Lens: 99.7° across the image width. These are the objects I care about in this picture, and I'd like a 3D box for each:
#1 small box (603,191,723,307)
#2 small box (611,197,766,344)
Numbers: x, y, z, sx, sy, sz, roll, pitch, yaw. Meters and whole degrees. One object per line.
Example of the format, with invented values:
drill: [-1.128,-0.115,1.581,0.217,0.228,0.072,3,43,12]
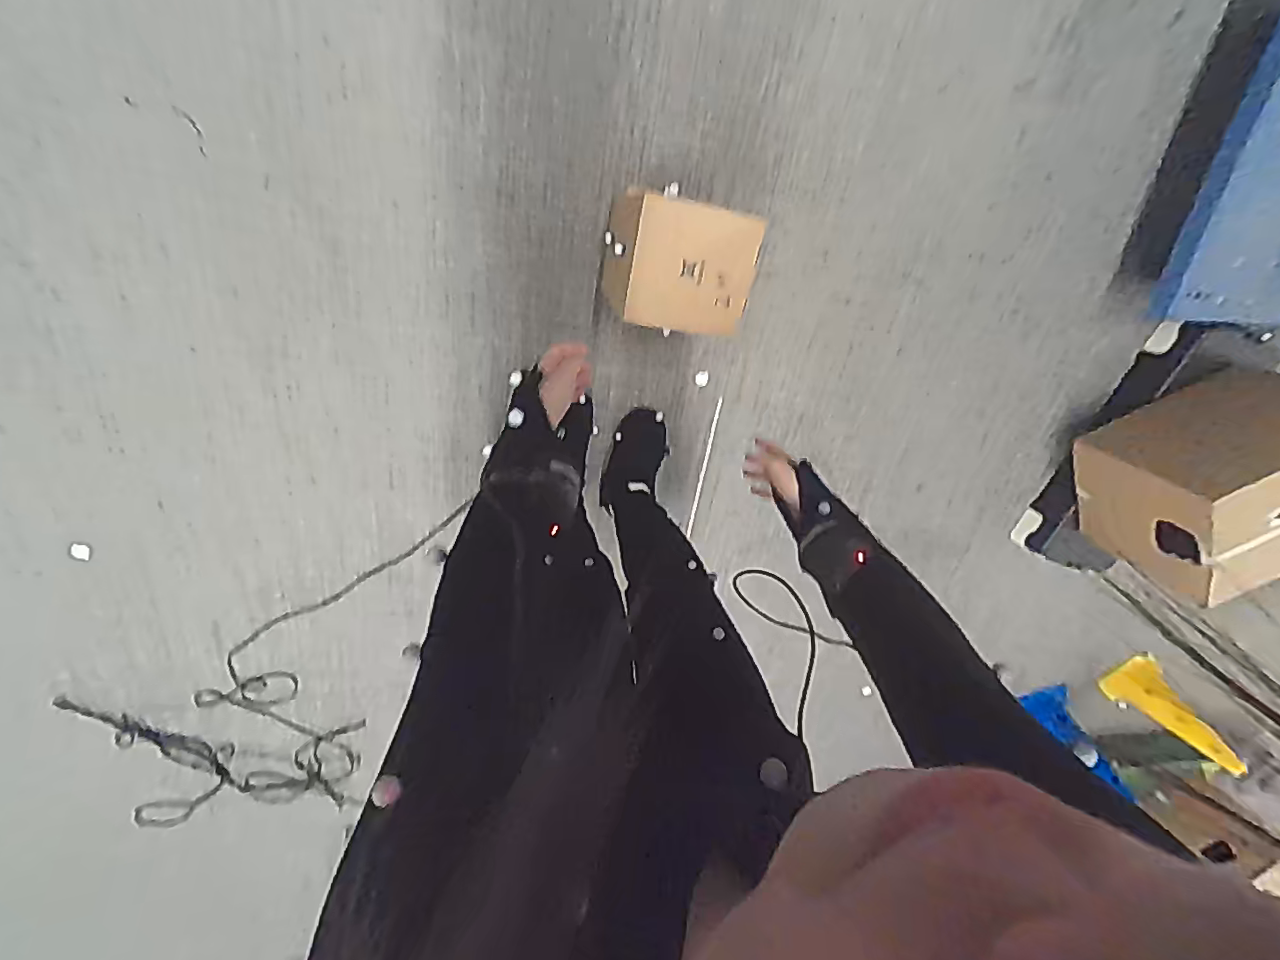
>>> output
small box: [0.031,-0.396,0.957,0.168,0.176,0.179,5,115,-13]
small box: [0.059,-0.316,0.815,0.179,0.176,0.168,6,116,-14]
